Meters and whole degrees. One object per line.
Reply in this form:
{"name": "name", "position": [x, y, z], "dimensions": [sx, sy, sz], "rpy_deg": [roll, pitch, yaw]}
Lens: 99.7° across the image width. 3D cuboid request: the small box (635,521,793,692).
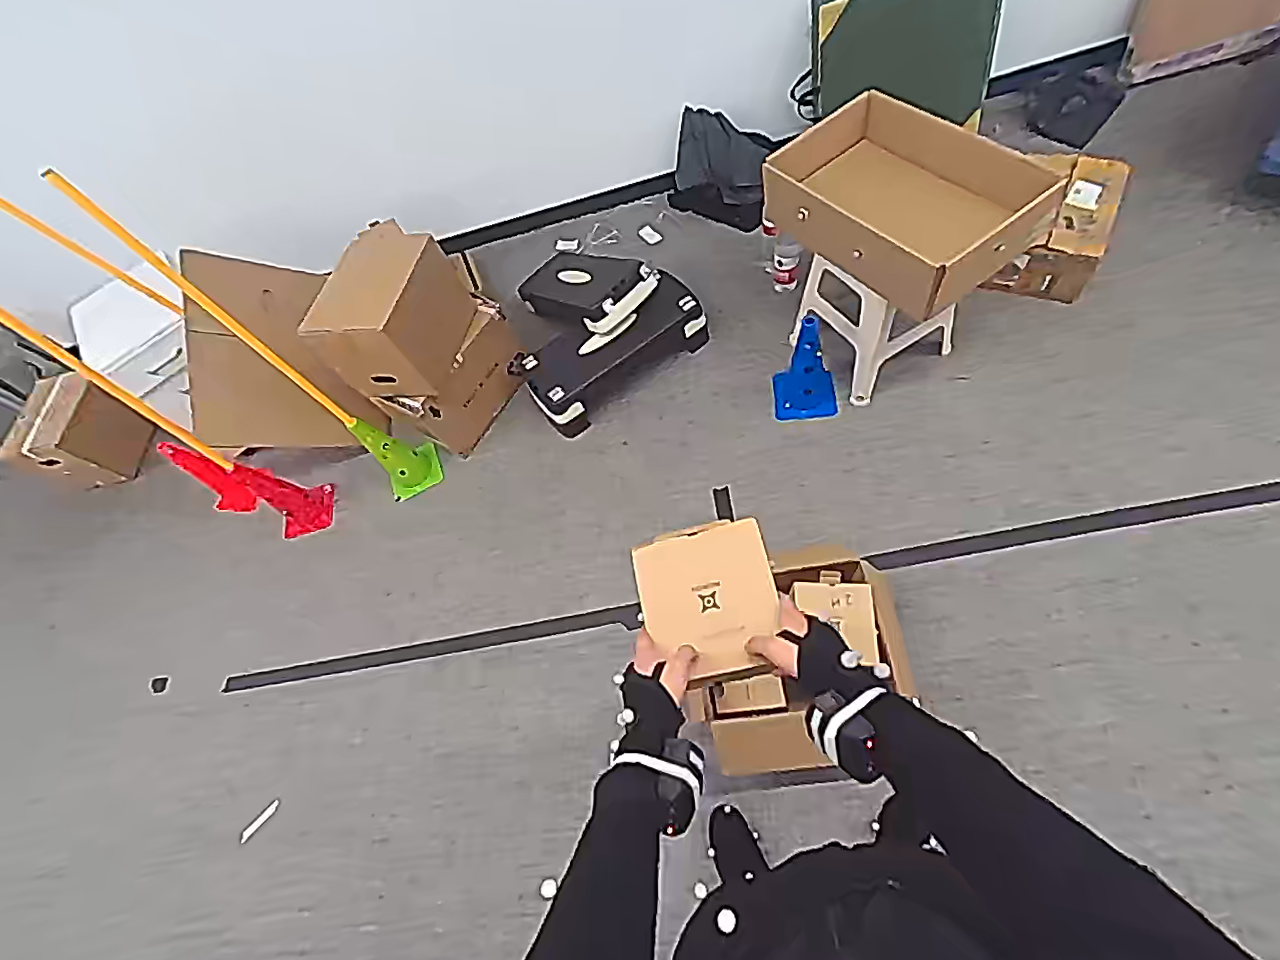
{"name": "small box", "position": [0.098, 0.178, 0.734], "dimensions": [0.168, 0.176, 0.179], "rpy_deg": [-14, 64, 6]}
